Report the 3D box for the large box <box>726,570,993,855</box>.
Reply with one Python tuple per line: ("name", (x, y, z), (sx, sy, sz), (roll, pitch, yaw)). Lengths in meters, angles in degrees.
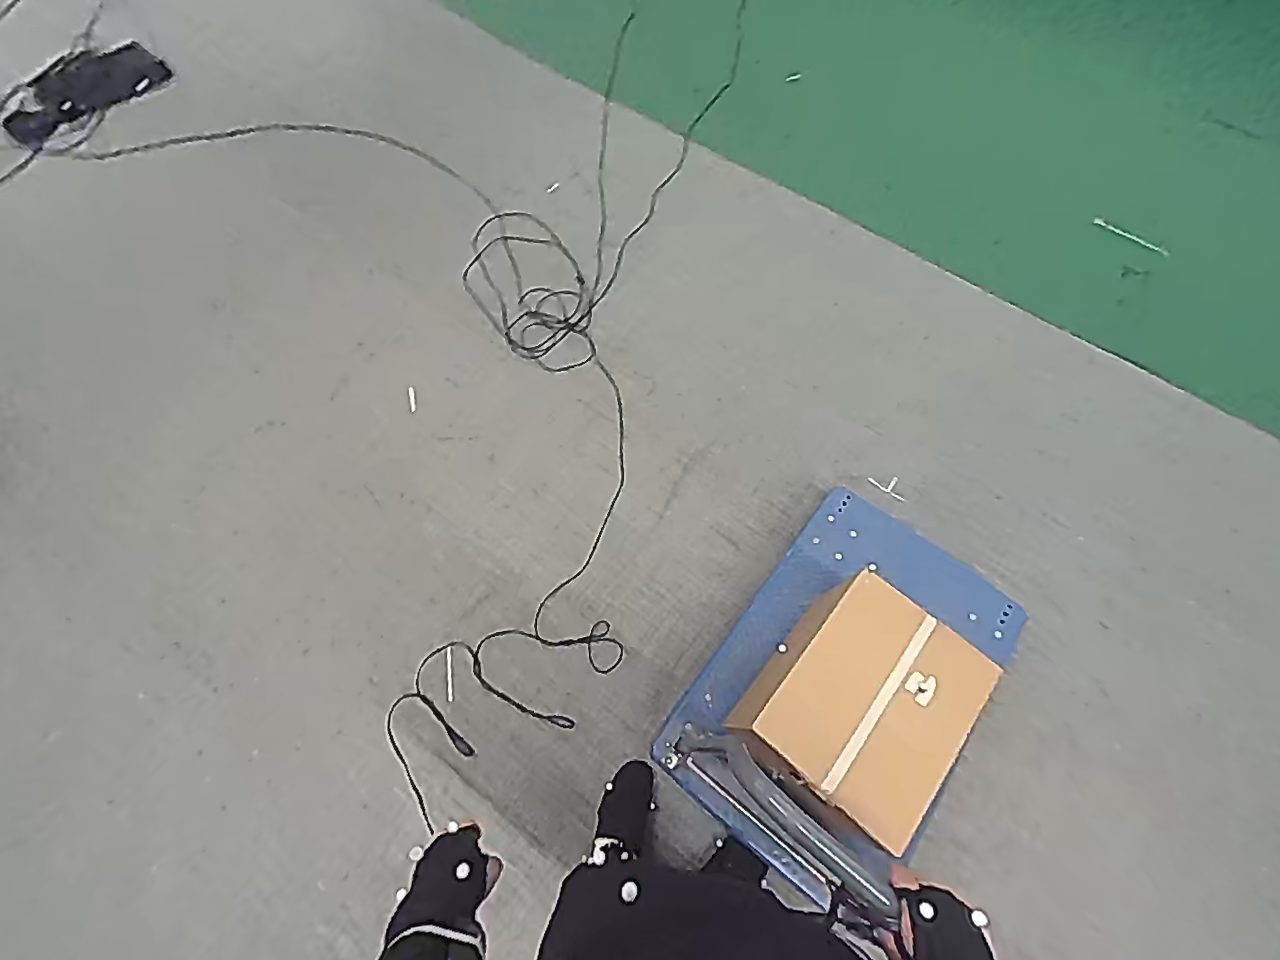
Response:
("large box", (0.438, 0.474, 1.149), (0.320, 0.320, 0.408), (39, 70, 14))
